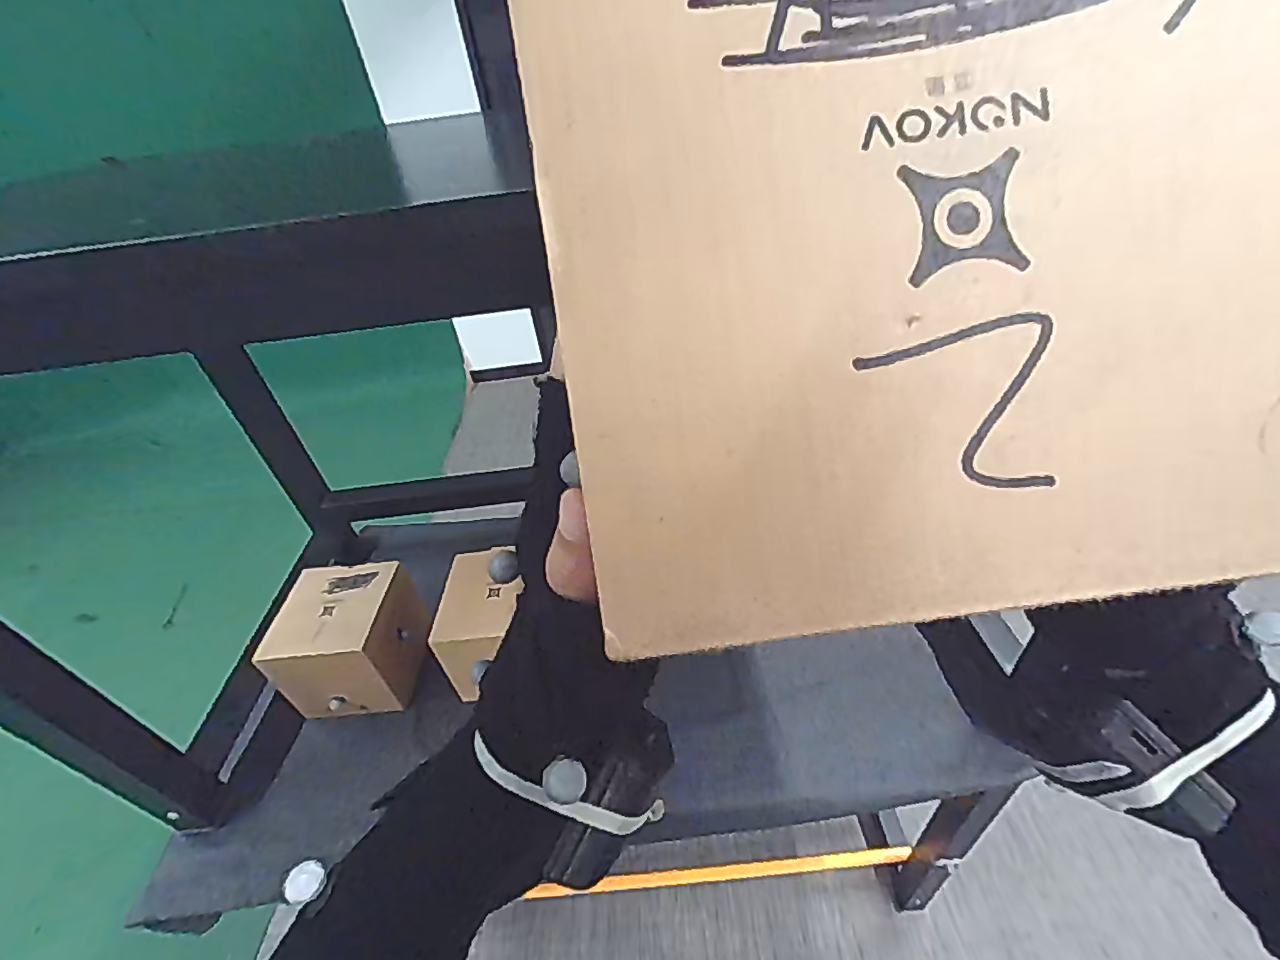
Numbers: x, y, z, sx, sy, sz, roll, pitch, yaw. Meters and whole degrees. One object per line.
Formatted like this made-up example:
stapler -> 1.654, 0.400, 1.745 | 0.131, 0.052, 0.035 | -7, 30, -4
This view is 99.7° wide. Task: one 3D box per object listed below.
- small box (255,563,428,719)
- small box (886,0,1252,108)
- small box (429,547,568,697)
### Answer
small box -> -0.466, 0.261, 0.883 | 0.168, 0.176, 0.179 | -6, 39, 2
small box -> 0.274, -0.353, 0.350 | 0.168, 0.176, 0.179 | 0, 39, 10
small box -> -0.215, 0.235, 0.878 | 0.168, 0.176, 0.179 | -6, 38, 2
